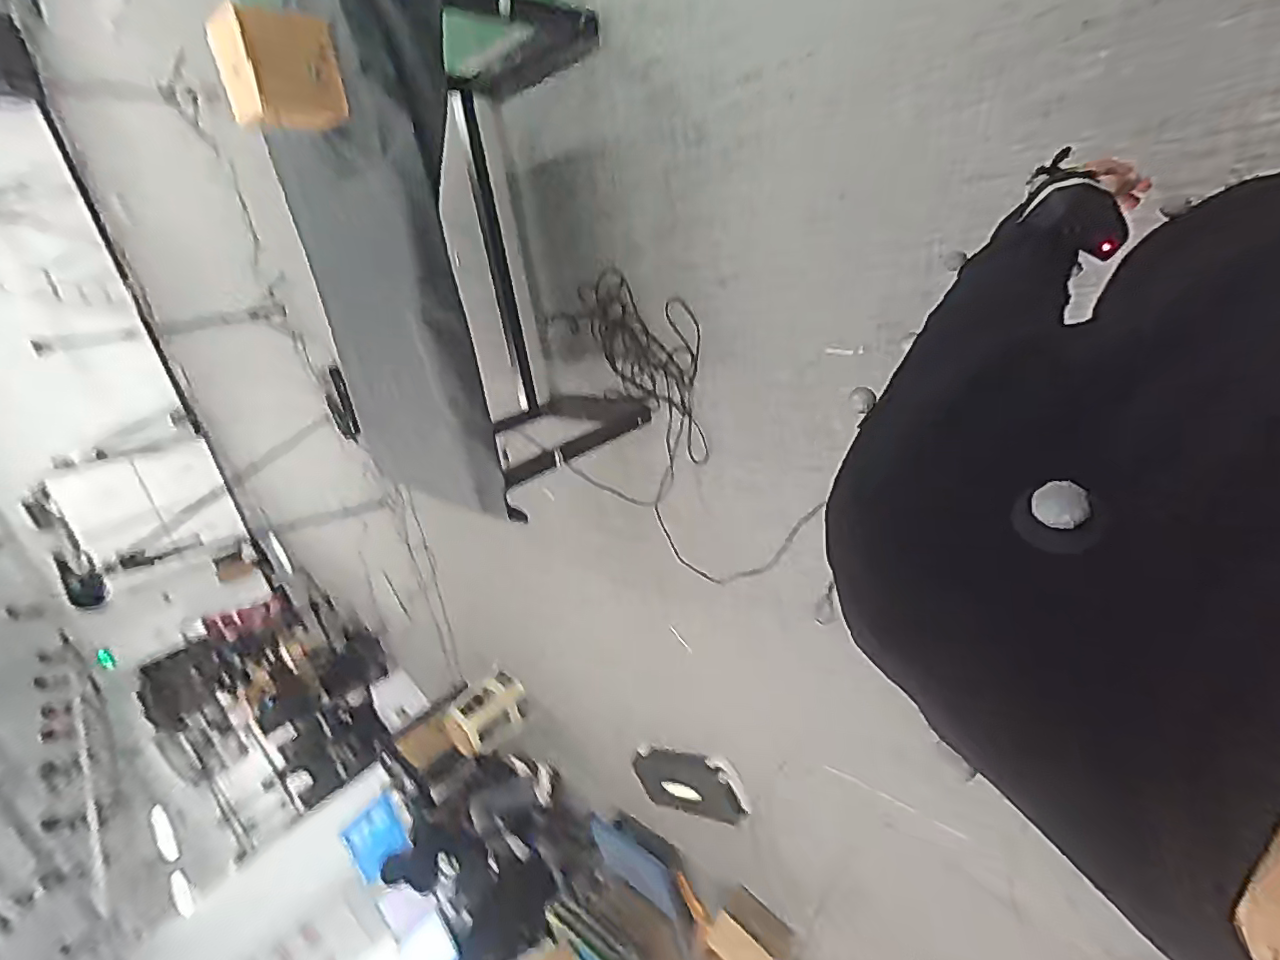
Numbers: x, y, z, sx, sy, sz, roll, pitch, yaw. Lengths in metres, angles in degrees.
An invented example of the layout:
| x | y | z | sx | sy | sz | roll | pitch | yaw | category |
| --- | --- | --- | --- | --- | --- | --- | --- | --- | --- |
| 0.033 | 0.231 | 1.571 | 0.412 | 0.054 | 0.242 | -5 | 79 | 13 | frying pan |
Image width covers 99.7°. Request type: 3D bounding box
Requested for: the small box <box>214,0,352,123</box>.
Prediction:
| x | y | z | sx | sy | sz | roll | pitch | yaw | category |
| --- | --- | --- | --- | --- | --- | --- | --- | --- | --- |
| -0.720 | -0.842 | 1.102 | 0.179 | 0.176 | 0.168 | 17 | 123 | 38 | small box |
